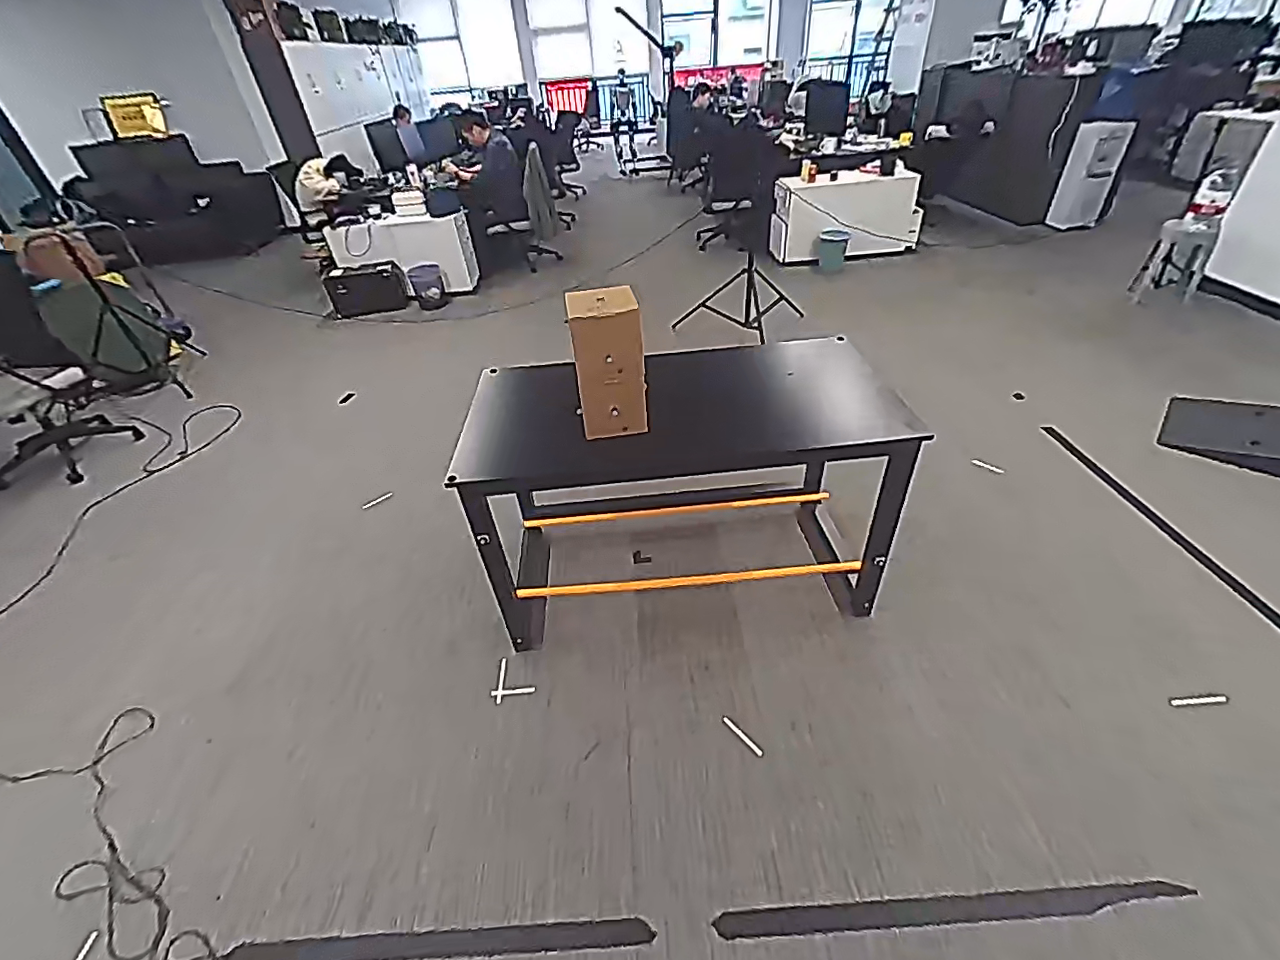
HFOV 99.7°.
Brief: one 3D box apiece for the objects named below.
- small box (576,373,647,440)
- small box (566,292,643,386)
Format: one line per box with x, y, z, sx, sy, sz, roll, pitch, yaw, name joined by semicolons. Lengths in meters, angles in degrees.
-0.078;-0.220;1.454;0.168;0.176;0.179;-8;38;-3;small box
-0.090;-0.353;1.355;0.168;0.176;0.179;-10;38;-4;small box
